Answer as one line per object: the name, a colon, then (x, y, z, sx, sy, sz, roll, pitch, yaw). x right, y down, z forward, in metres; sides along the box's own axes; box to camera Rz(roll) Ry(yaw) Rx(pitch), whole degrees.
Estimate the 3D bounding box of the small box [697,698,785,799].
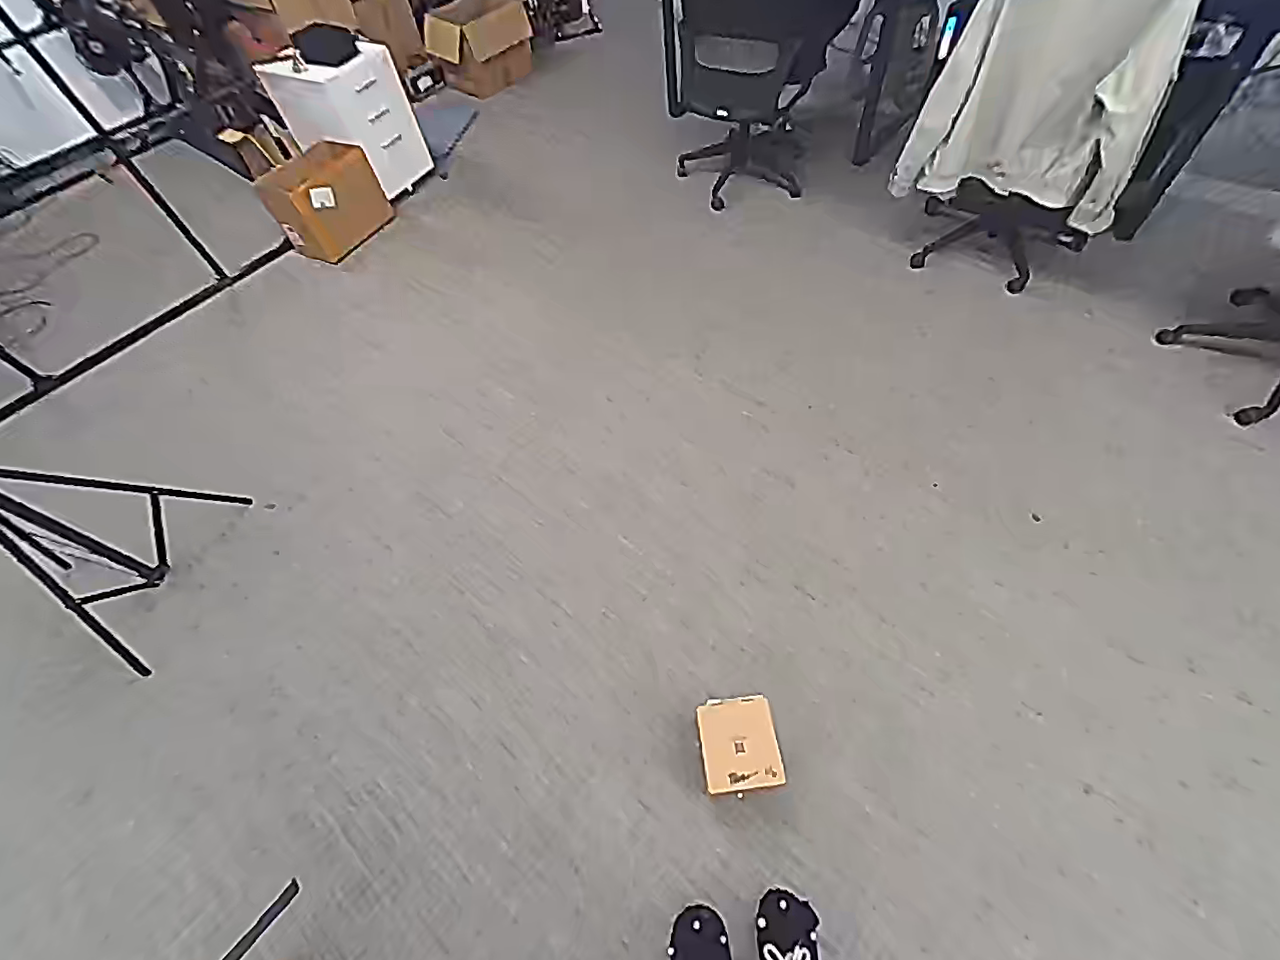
small box: (0.223, 0.620, 1.243, 0.168, 0.176, 0.179, -8, 56, 1)
